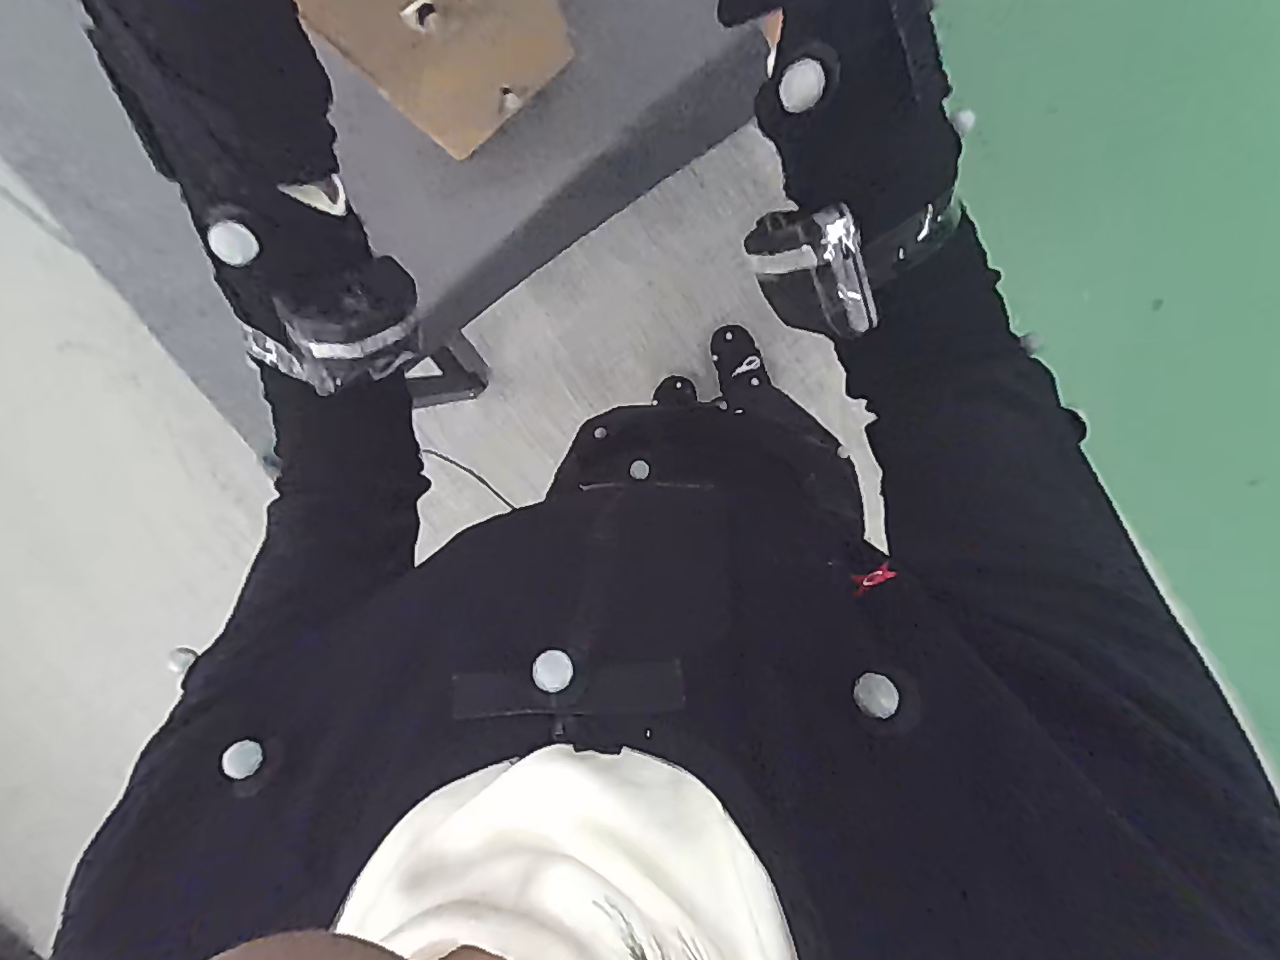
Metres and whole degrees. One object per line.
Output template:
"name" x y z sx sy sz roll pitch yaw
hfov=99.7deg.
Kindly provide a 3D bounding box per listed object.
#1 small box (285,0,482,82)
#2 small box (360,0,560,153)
"small box" -0.217 -0.434 0.370 0.168 0.176 0.179 -35 97 15
"small box" -0.196 -0.471 0.528 0.179 0.176 0.168 -35 96 12
